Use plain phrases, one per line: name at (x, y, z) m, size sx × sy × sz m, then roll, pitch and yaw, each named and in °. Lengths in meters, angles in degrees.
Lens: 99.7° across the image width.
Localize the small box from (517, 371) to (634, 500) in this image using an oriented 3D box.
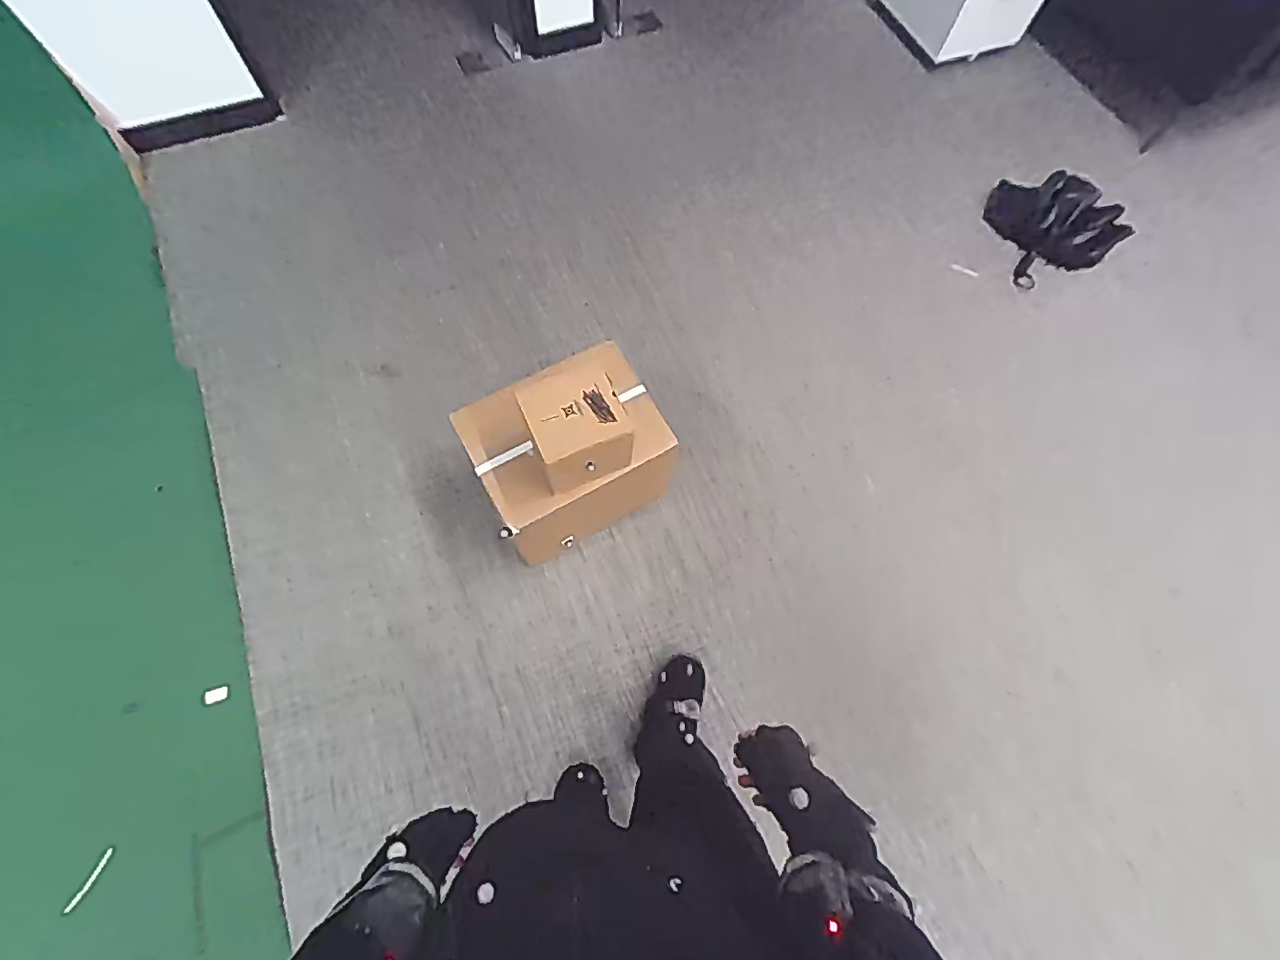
small box at (-0.125, -0.083, 1.080) m, size 0.179 × 0.176 × 0.168 m, roll -23°, pitch 71°, yaw -11°
